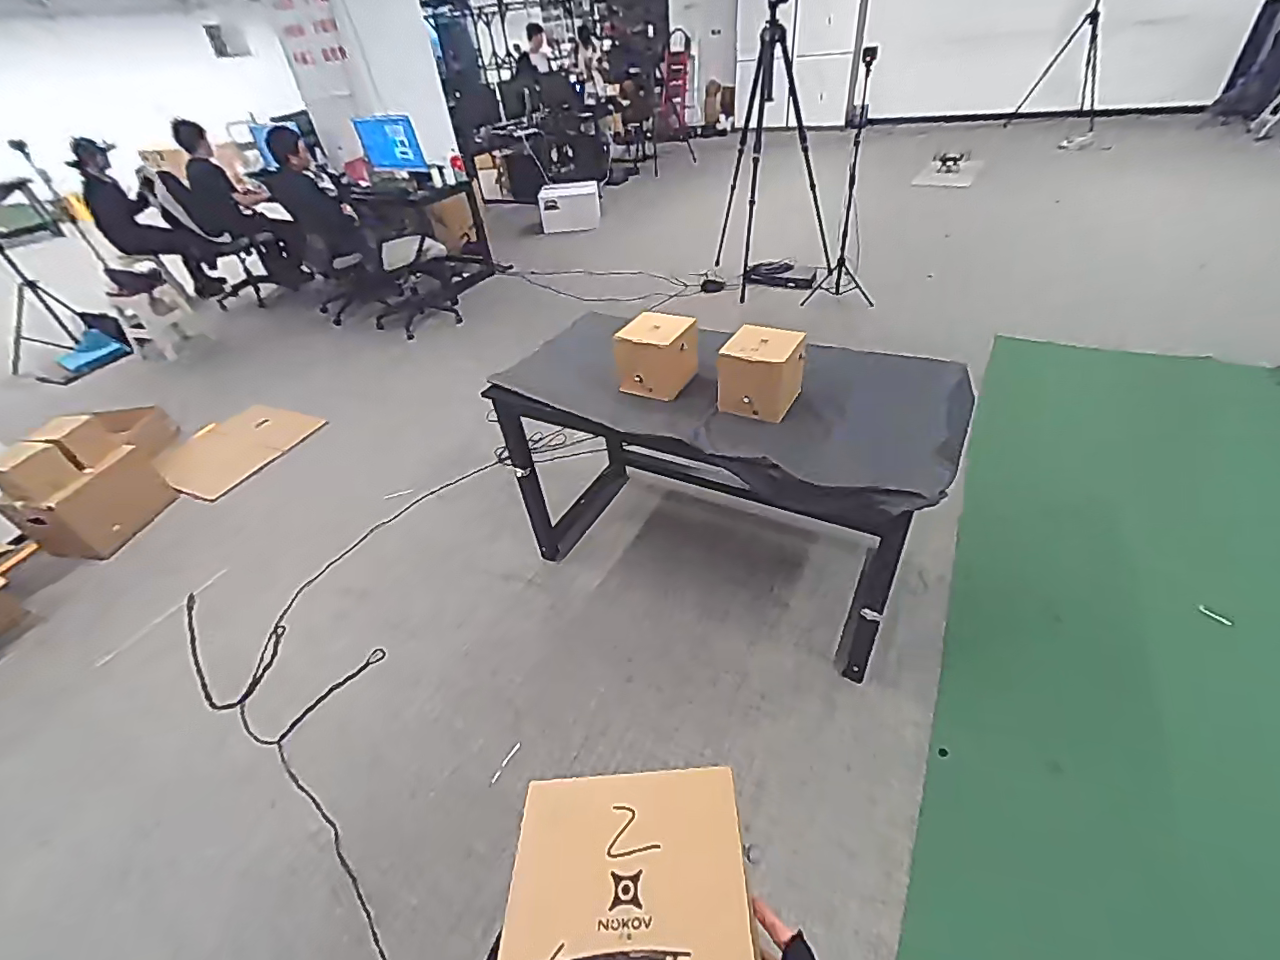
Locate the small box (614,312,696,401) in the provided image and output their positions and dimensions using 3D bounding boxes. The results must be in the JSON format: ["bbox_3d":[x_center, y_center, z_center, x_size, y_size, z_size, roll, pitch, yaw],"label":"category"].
[{"bbox_3d":[0.045,-0.345,1.503,0.168,0.176,0.179,17,45,25],"label":"small box"}]

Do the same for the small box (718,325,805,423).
[{"bbox_3d":[0.305,-0.271,1.377,0.168,0.176,0.179,17,45,26],"label":"small box"}]
